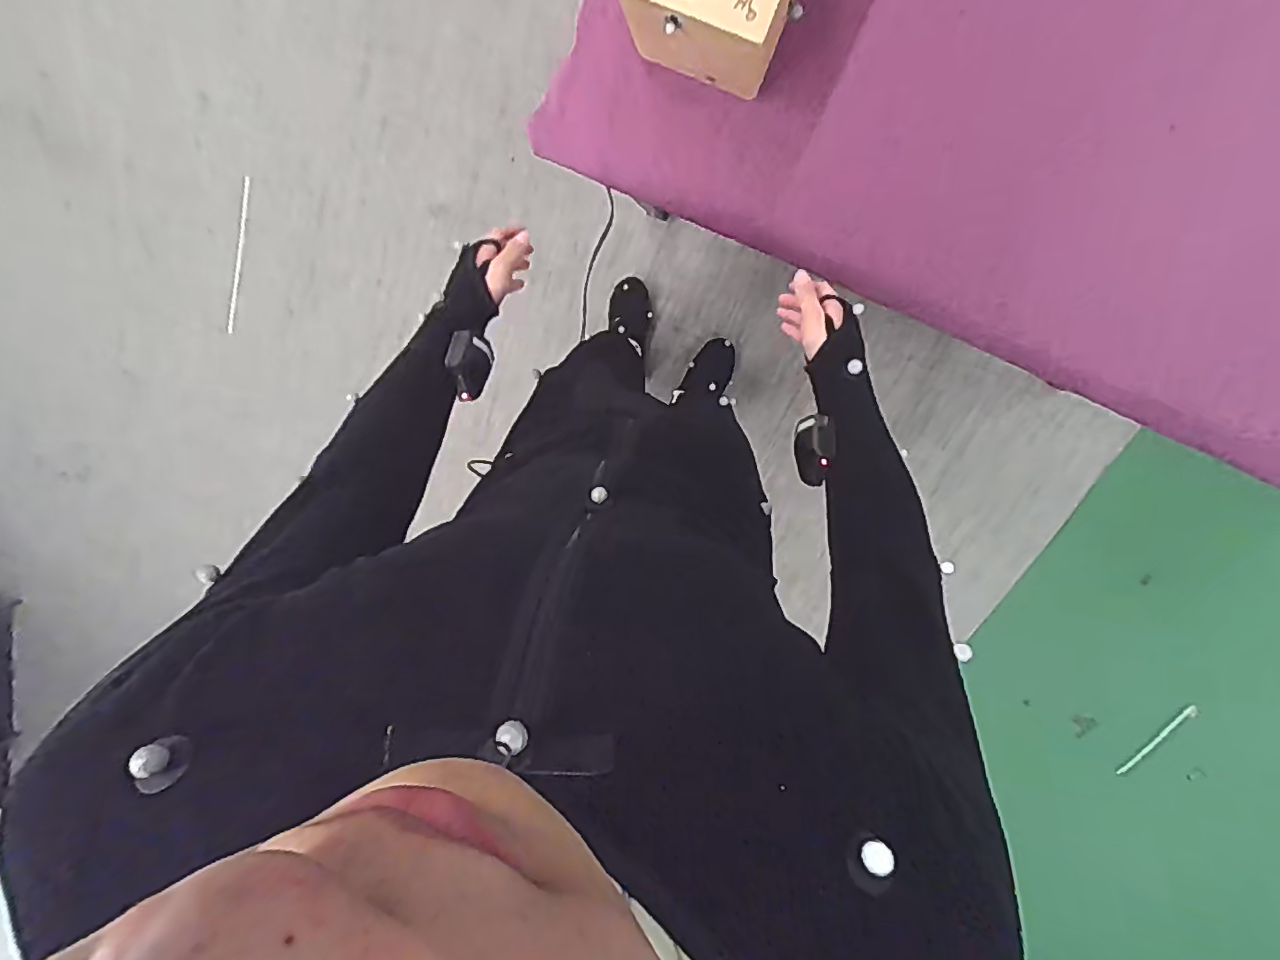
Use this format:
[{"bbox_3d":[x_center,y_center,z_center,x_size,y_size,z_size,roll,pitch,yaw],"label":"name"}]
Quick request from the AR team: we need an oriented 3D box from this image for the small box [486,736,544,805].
[{"bbox_3d":[-0.466,1.069,1.943,0.168,0.176,0.179,29,110,-2],"label":"small box"}]

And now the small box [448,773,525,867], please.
[{"bbox_3d":[-0.499,1.118,1.790,0.168,0.176,0.179,28,112,-2],"label":"small box"}]

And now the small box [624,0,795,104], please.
[{"bbox_3d":[0.089,-0.564,0.596,0.168,0.176,0.179,23,110,2],"label":"small box"}]
